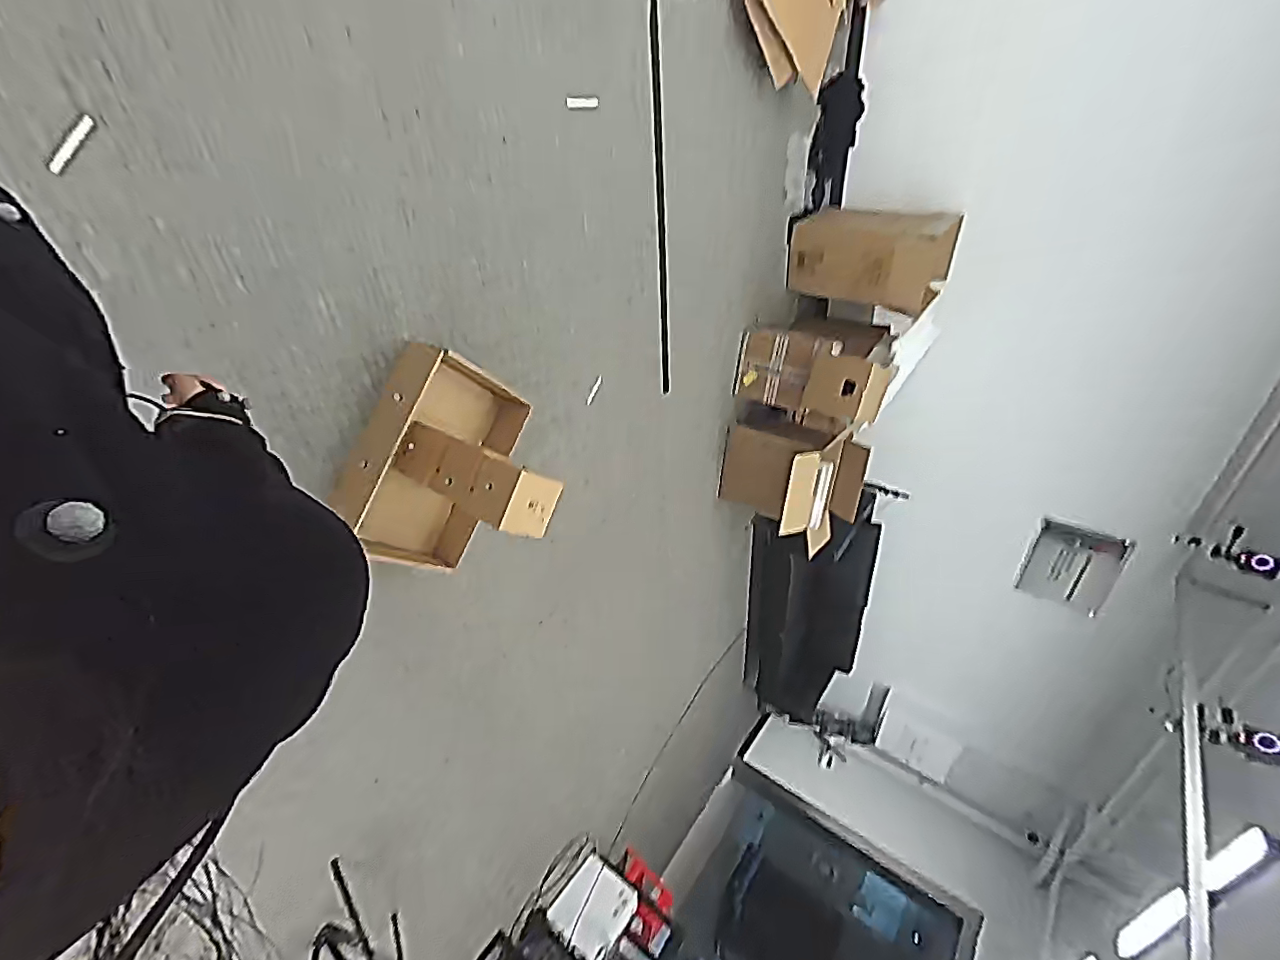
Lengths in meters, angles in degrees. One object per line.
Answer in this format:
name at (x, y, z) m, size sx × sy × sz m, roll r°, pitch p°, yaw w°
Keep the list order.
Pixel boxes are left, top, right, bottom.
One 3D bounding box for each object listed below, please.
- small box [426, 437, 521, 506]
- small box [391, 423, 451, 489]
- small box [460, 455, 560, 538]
small box at (-0.487, -0.014, 1.574) m, size 0.179 × 0.176 × 0.168 m, roll 23°, pitch 90°, yaw -59°
small box at (-0.618, -0.059, 1.657) m, size 0.179 × 0.176 × 0.168 m, roll 31°, pitch 82°, yaw -57°
small box at (-0.360, 0.043, 1.483) m, size 0.179 × 0.176 × 0.168 m, roll 23°, pitch 91°, yaw -57°
